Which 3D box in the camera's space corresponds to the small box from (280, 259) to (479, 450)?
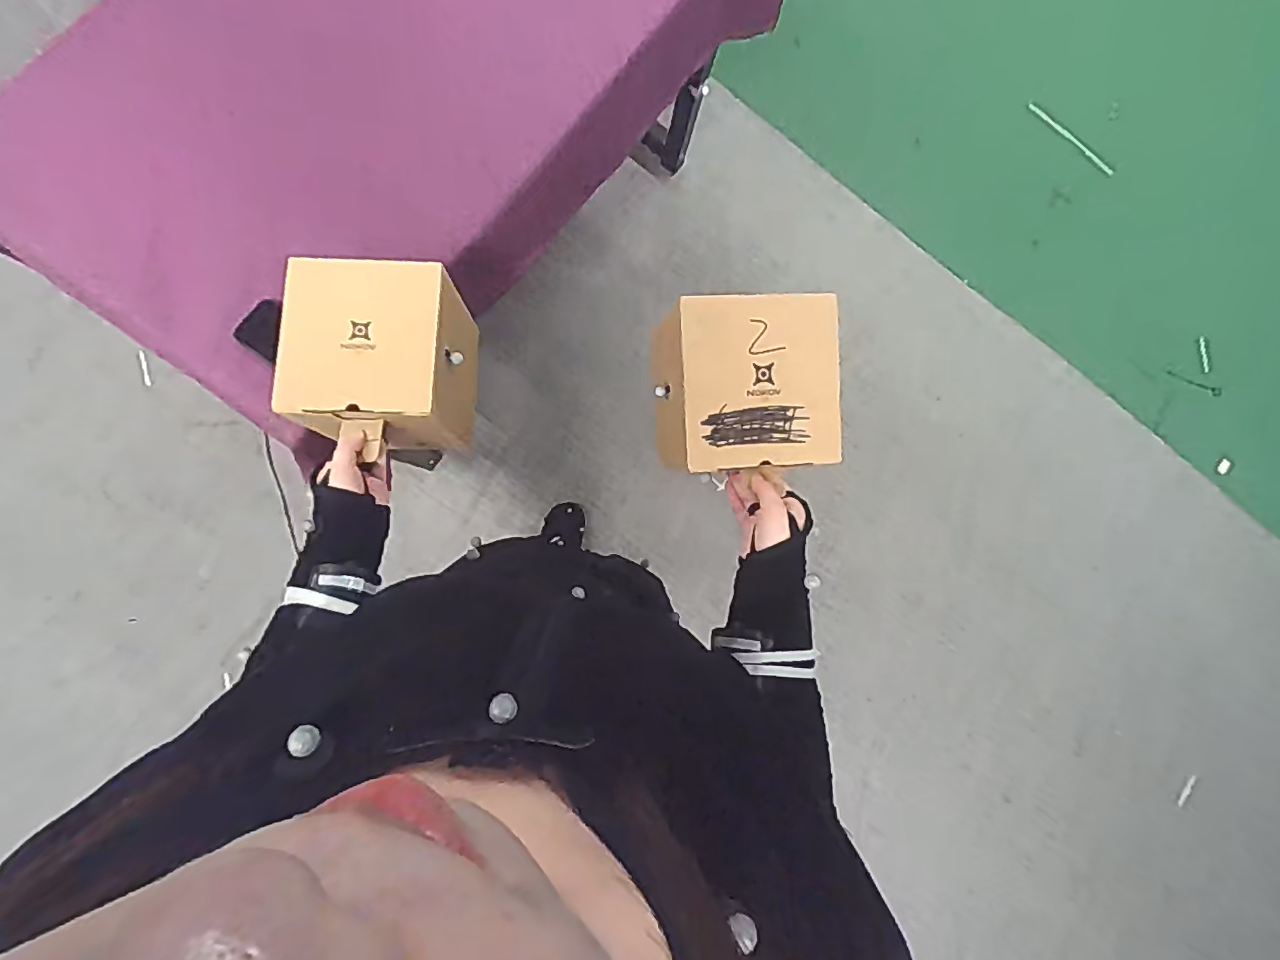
[{"bbox_3d":[-0.302,-0.143,0.667,0.168,0.176,0.179,1,81,-3],"label":"small box"}]
